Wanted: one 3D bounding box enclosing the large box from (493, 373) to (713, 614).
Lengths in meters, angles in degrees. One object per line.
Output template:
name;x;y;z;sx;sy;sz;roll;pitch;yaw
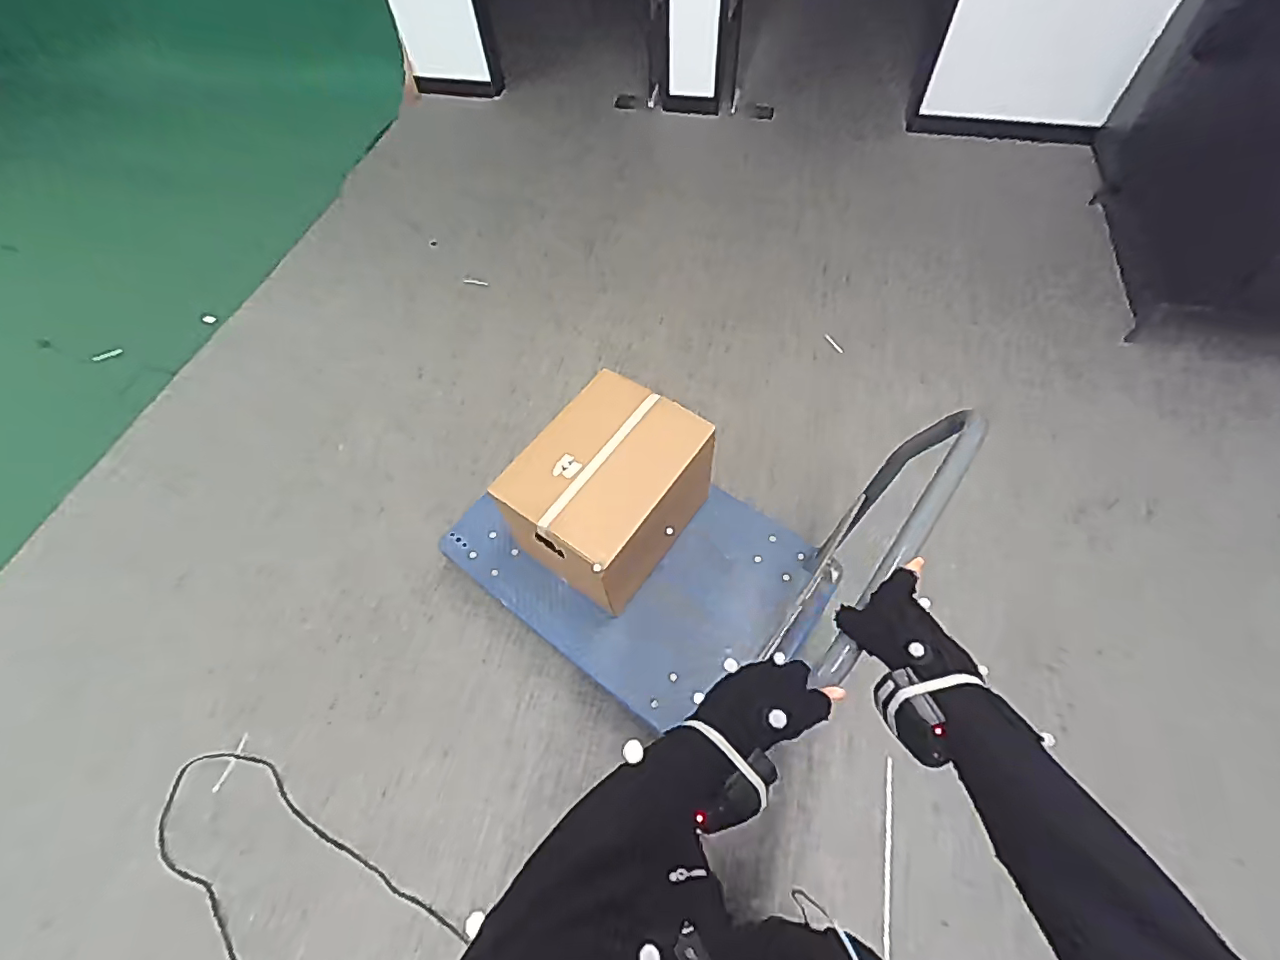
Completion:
large box;-0.065;0.035;1.277;0.320;0.320;0.408;30;66;20
